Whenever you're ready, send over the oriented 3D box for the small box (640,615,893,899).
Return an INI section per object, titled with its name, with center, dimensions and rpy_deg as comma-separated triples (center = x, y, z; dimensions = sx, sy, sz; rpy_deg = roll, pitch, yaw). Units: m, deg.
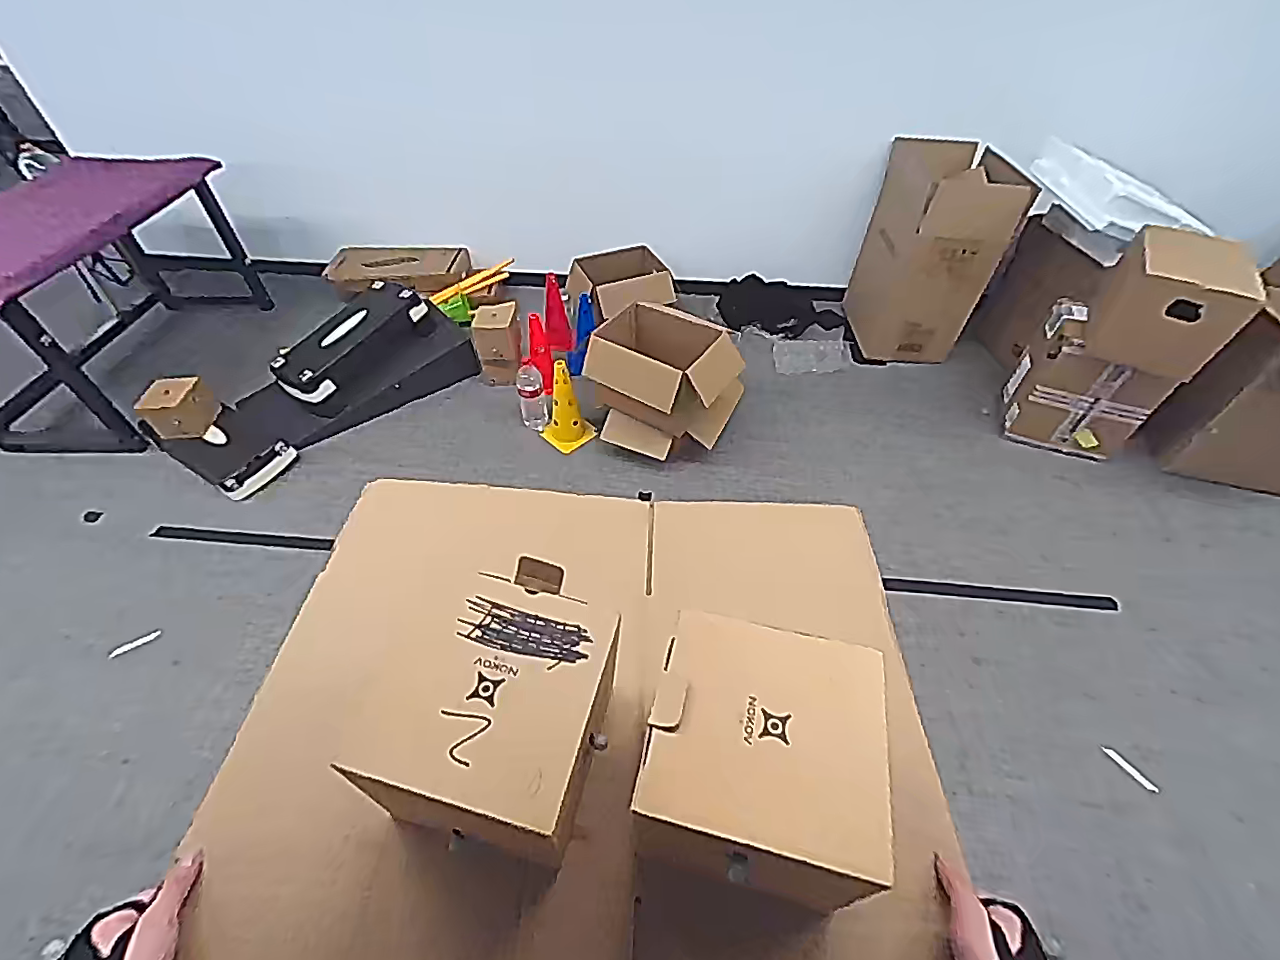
[small box]
center = 0.106, 0.248, 0.482
dimensions = 0.179, 0.176, 0.168
rpy_deg = 9, 48, 12
